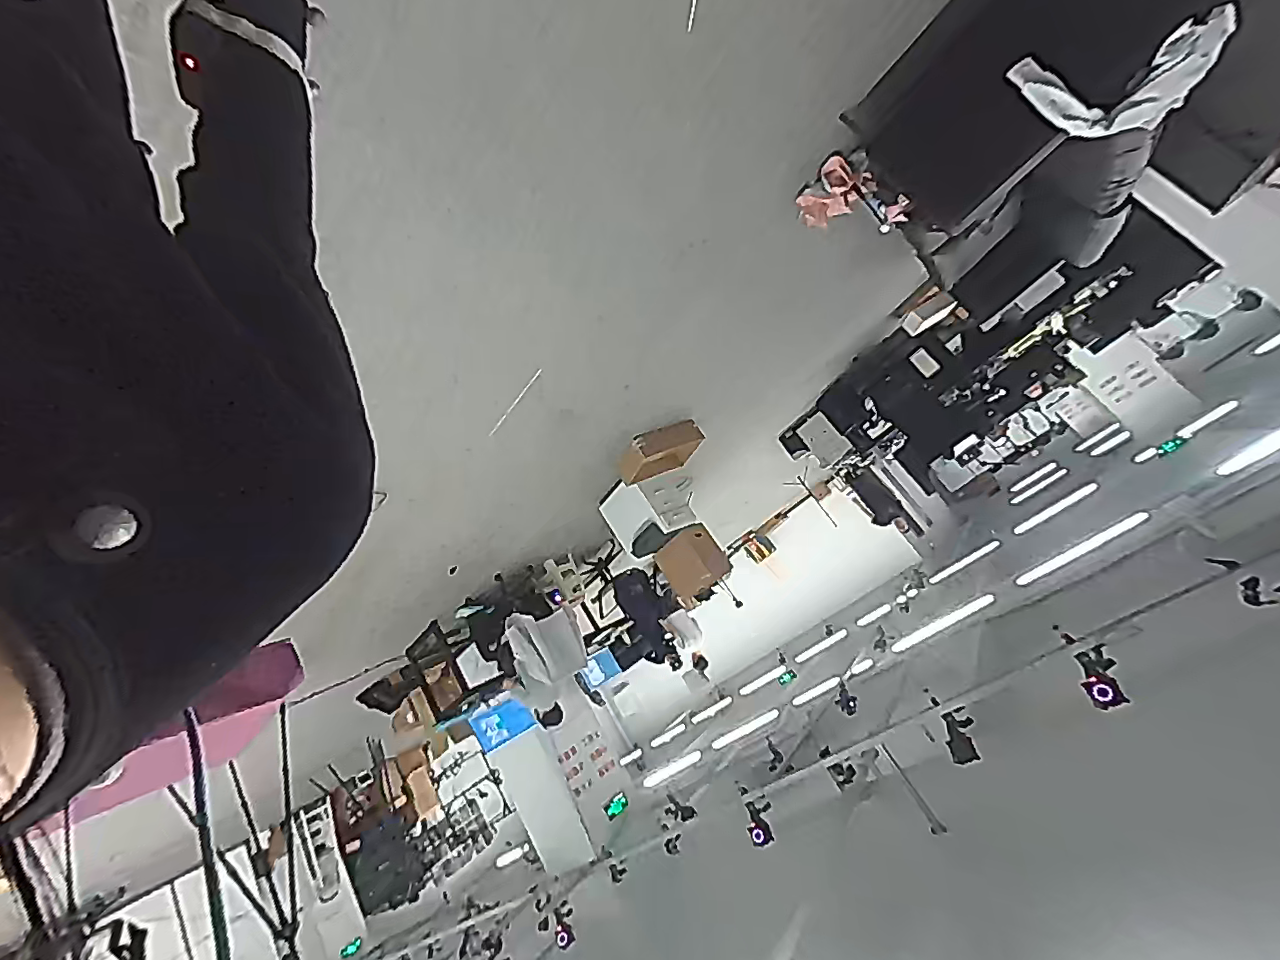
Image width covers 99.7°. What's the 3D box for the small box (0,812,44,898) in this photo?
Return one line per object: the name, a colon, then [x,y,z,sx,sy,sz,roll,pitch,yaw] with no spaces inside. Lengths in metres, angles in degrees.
small box: [-1.857,1.095,1.543,0.168,0.176,0.179,-43,160,27]
